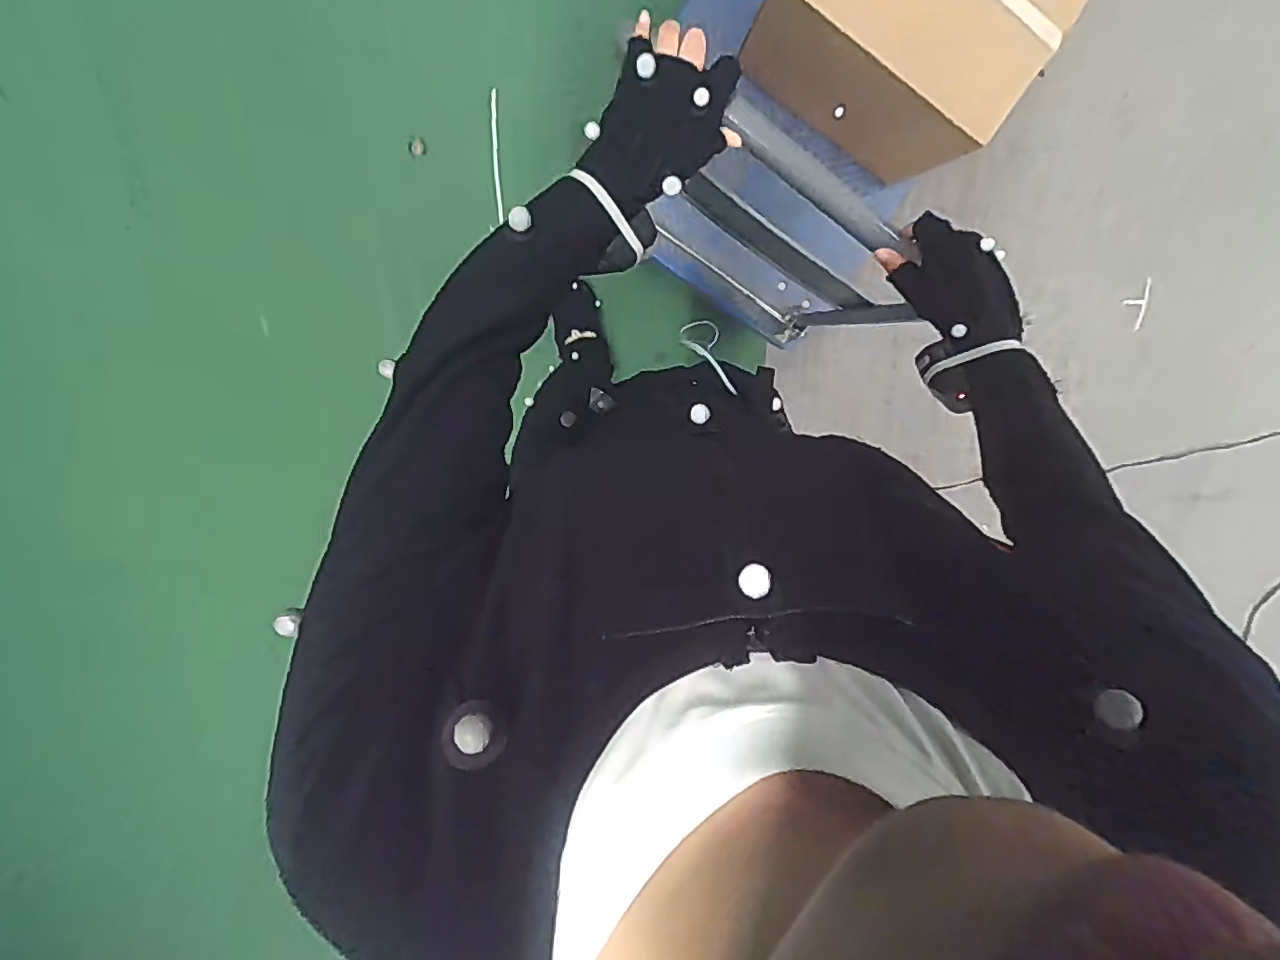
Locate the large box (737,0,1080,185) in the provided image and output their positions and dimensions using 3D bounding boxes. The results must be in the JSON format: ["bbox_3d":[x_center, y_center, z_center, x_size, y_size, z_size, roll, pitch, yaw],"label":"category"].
[{"bbox_3d":[0.435,-0.780,0.916,0.408,0.320,0.320,30,104,-10],"label":"large box"}]
